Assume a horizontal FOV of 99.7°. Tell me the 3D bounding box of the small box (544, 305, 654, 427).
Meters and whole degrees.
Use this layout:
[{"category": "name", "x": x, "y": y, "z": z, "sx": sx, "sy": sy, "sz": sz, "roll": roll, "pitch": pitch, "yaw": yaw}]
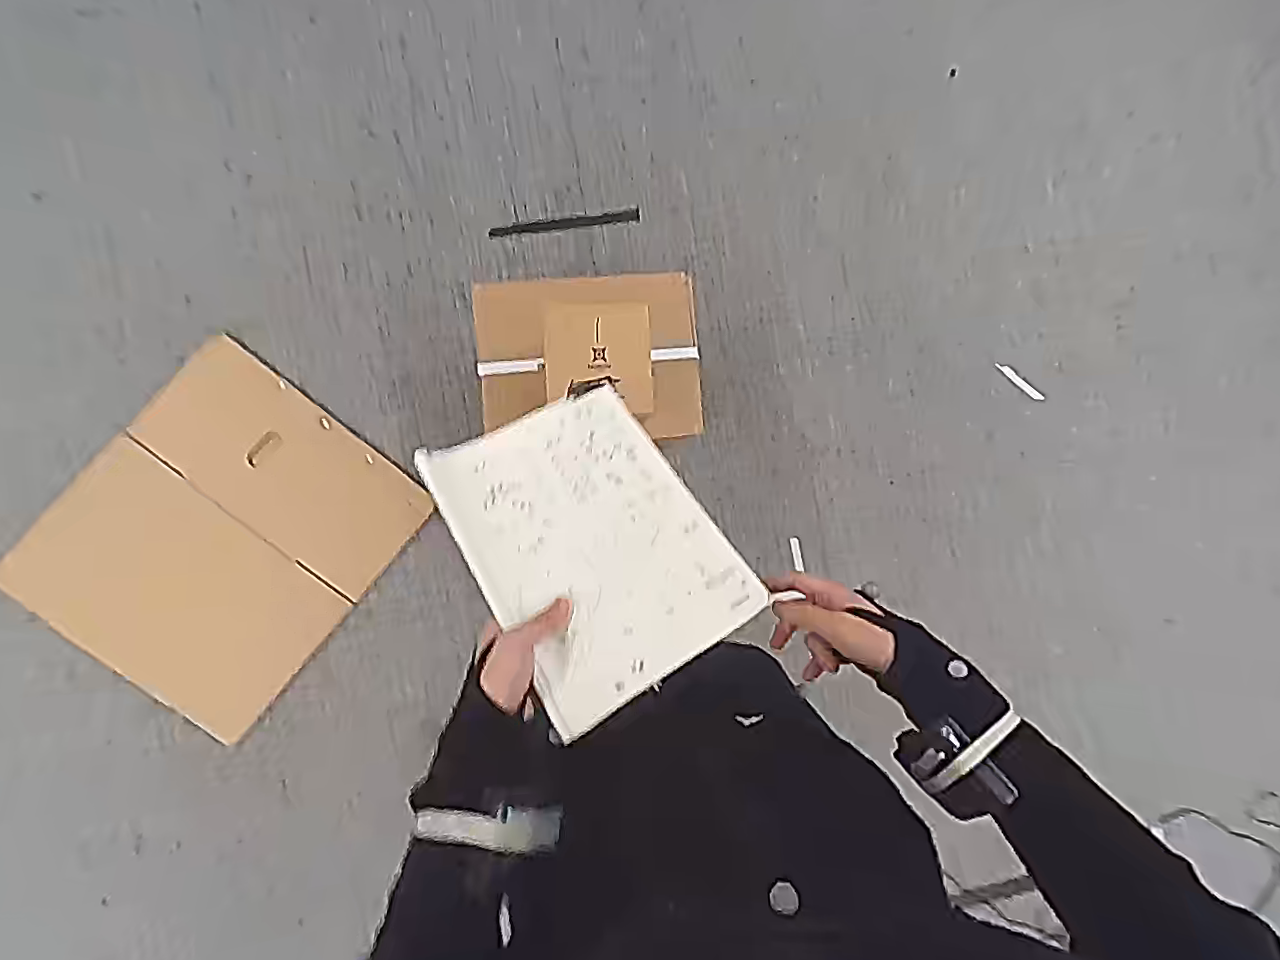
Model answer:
[{"category": "small box", "x": -0.070, "y": -0.181, "z": 0.906, "sx": 0.168, "sy": 0.176, "sz": 0.179, "roll": -3, "pitch": 90, "yaw": -7}]
